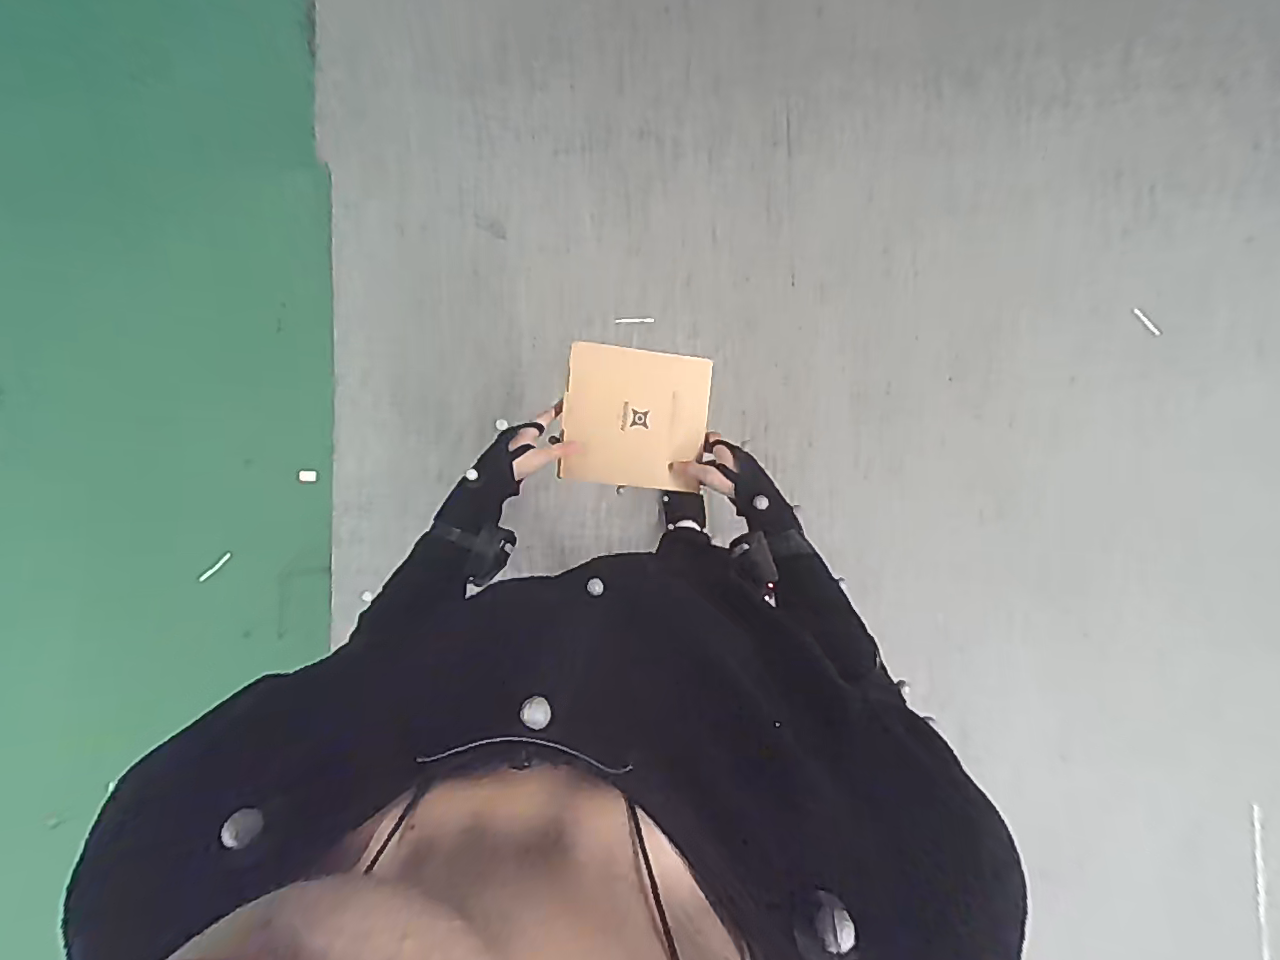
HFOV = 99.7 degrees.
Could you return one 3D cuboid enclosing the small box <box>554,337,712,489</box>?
[{"bbox_3d":[-0.018,-0.082,0.724,0.179,0.176,0.168,6,93,-9],"label":"small box"}]
